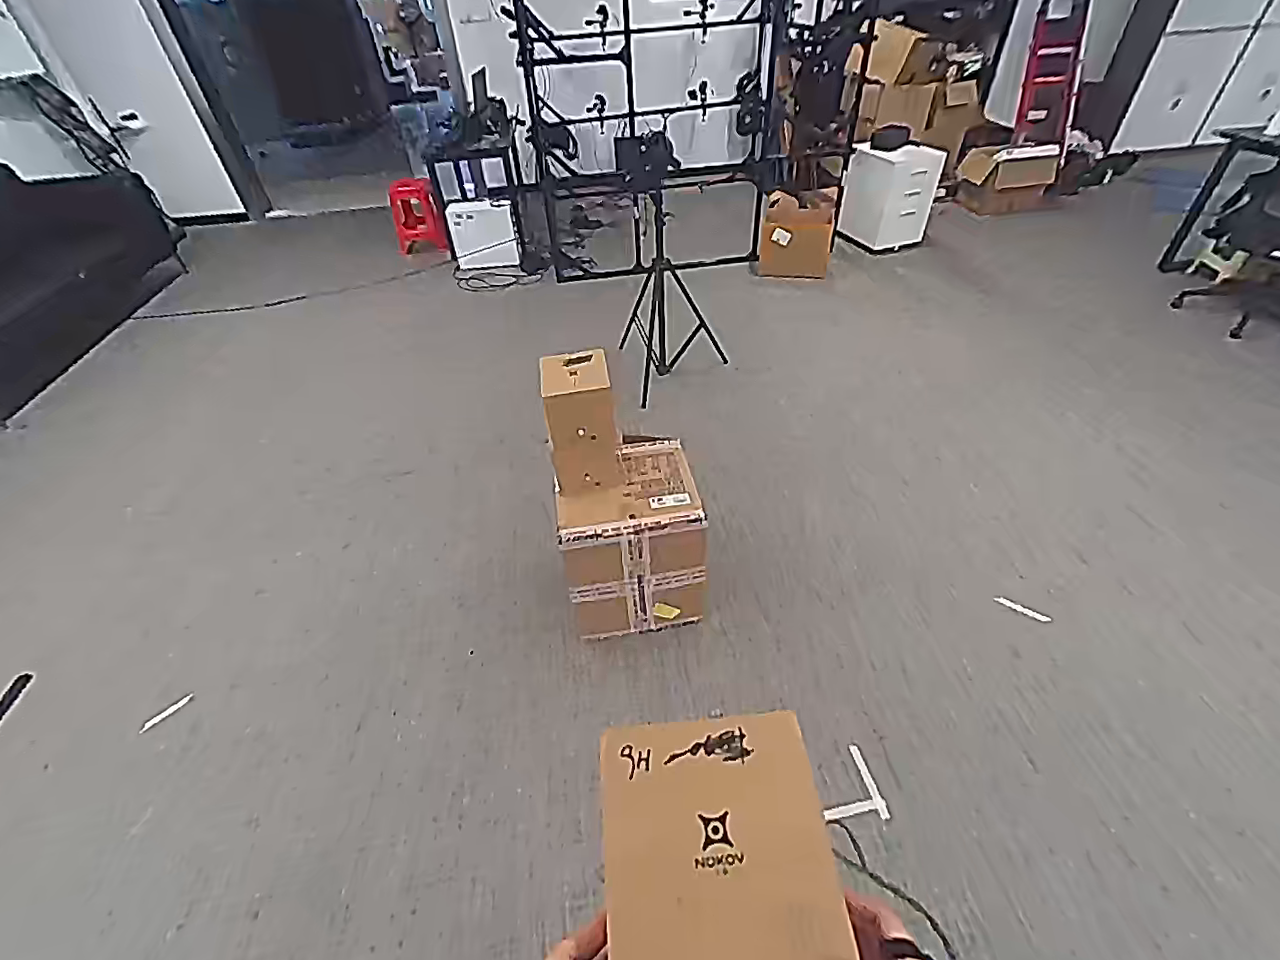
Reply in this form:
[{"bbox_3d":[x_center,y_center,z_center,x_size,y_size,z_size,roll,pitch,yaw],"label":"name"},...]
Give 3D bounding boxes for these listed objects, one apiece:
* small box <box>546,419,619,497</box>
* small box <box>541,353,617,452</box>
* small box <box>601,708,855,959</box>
[{"bbox_3d":[-0.159,-0.079,1.492,0.168,0.176,0.179,-12,45,-6],"label":"small box"},{"bbox_3d":[-0.156,-0.196,1.376,0.168,0.176,0.179,-10,45,-3],"label":"small box"},{"bbox_3d":[0.060,0.315,0.460,0.168,0.176,0.179,-6,51,-1],"label":"small box"}]
